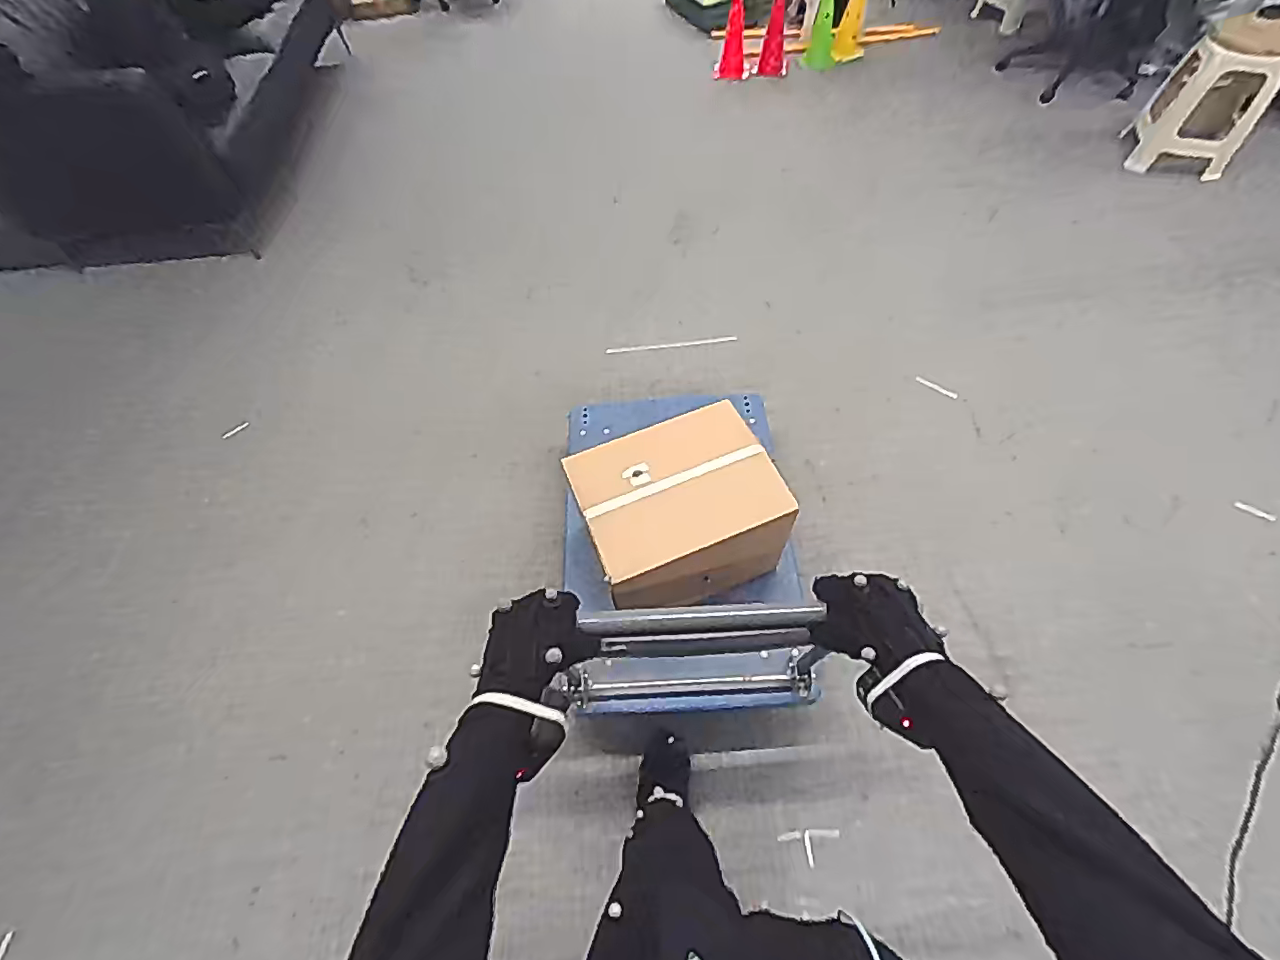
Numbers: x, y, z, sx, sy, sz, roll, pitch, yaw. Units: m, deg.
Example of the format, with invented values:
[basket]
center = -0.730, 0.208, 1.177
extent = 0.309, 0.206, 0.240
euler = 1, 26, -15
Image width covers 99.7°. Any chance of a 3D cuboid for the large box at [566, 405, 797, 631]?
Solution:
[large box]
center = 0.089, 0.096, 1.247
extent = 0.408, 0.320, 0.320
euler = -21, 58, -8
